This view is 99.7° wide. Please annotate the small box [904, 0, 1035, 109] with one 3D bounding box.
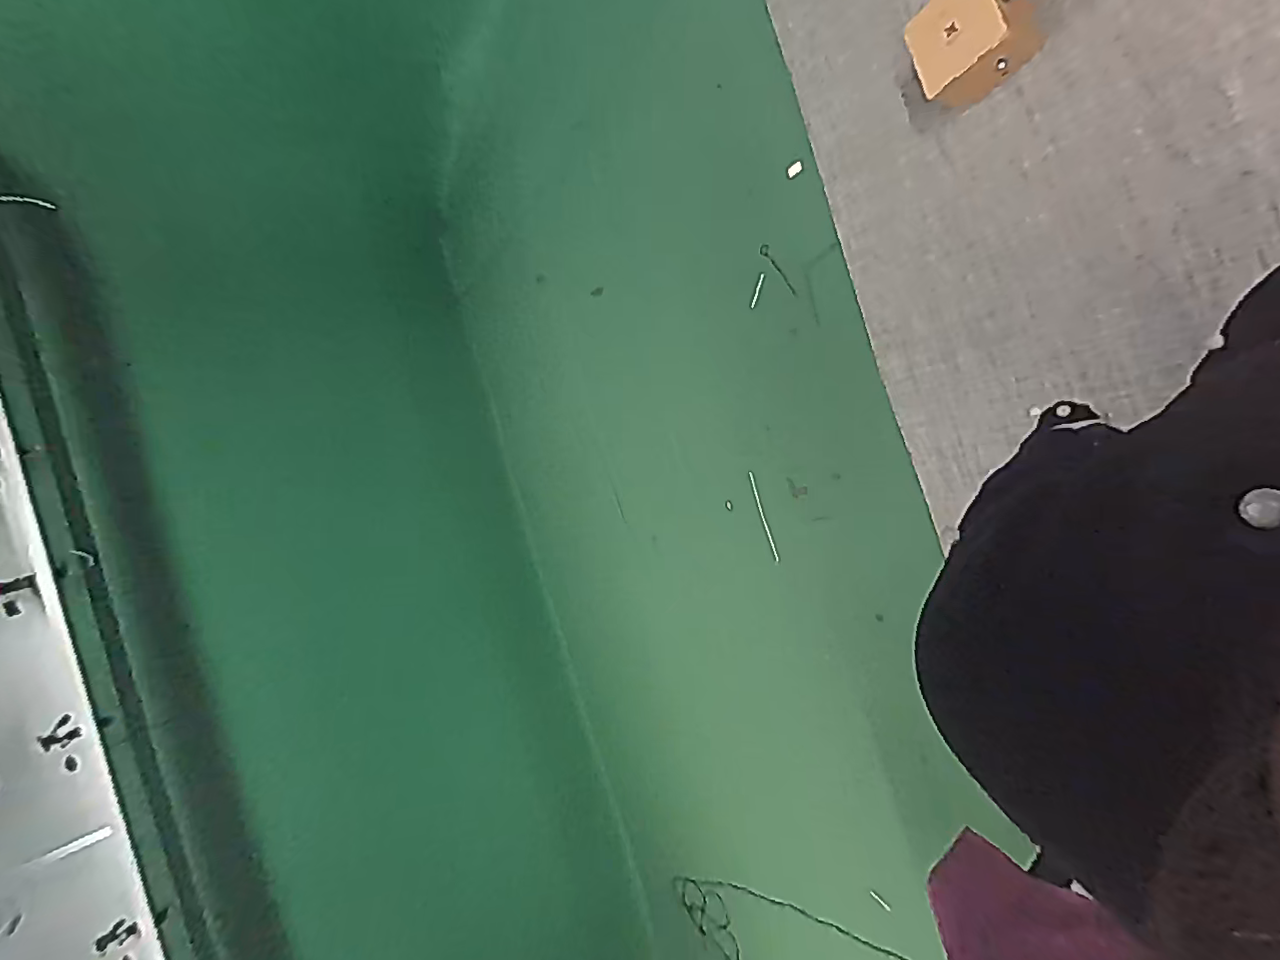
[{"bbox_3d":[0.719,-0.947,1.178,0.168,0.176,0.179,-21,85,56],"label":"small box"}]
